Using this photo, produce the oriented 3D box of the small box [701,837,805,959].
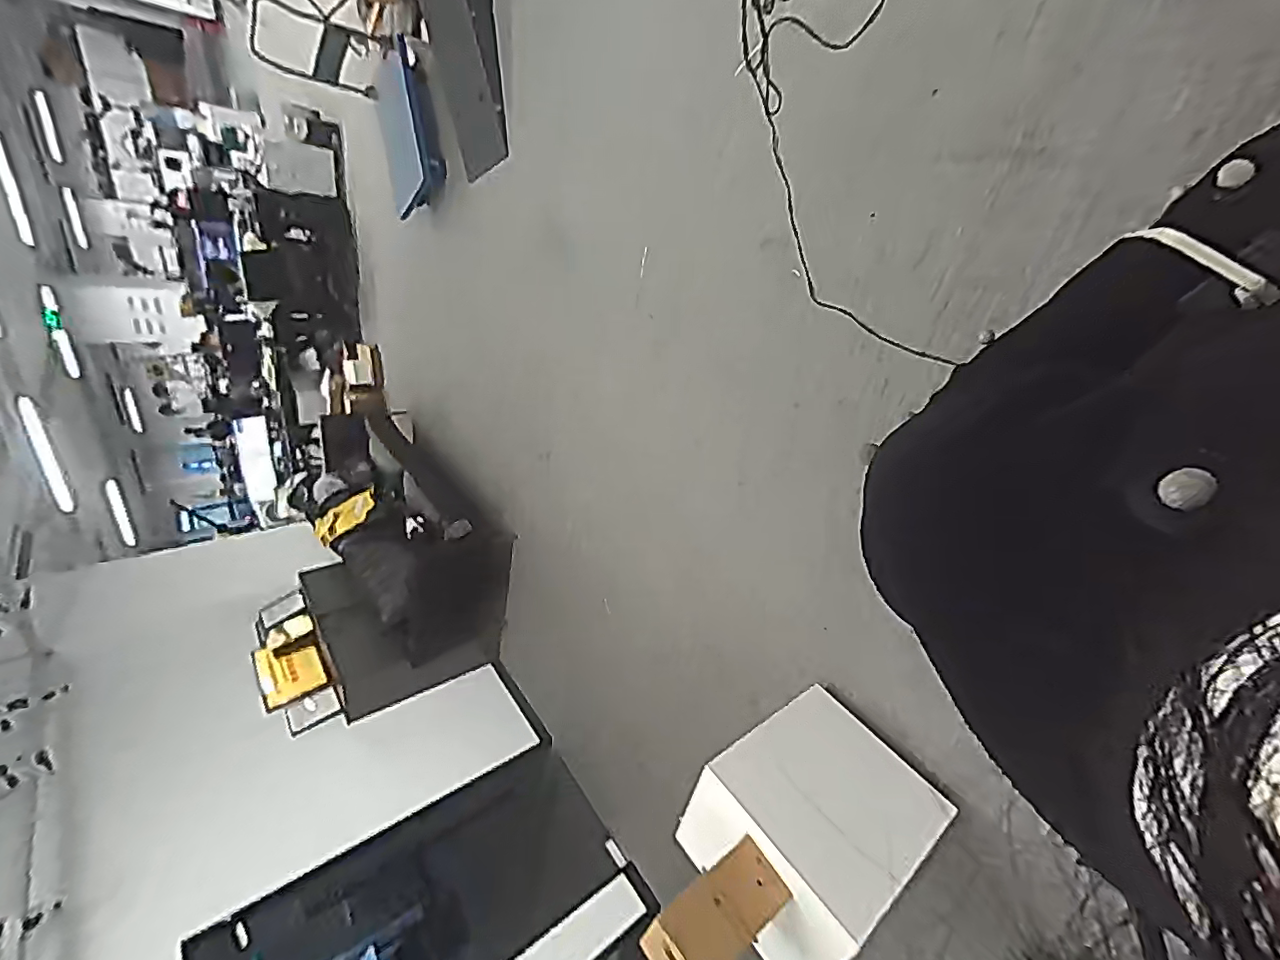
[{"bbox_3d":[0.290,1.066,1.382,0.168,0.176,0.179,45,133,35],"label":"small box"}]
